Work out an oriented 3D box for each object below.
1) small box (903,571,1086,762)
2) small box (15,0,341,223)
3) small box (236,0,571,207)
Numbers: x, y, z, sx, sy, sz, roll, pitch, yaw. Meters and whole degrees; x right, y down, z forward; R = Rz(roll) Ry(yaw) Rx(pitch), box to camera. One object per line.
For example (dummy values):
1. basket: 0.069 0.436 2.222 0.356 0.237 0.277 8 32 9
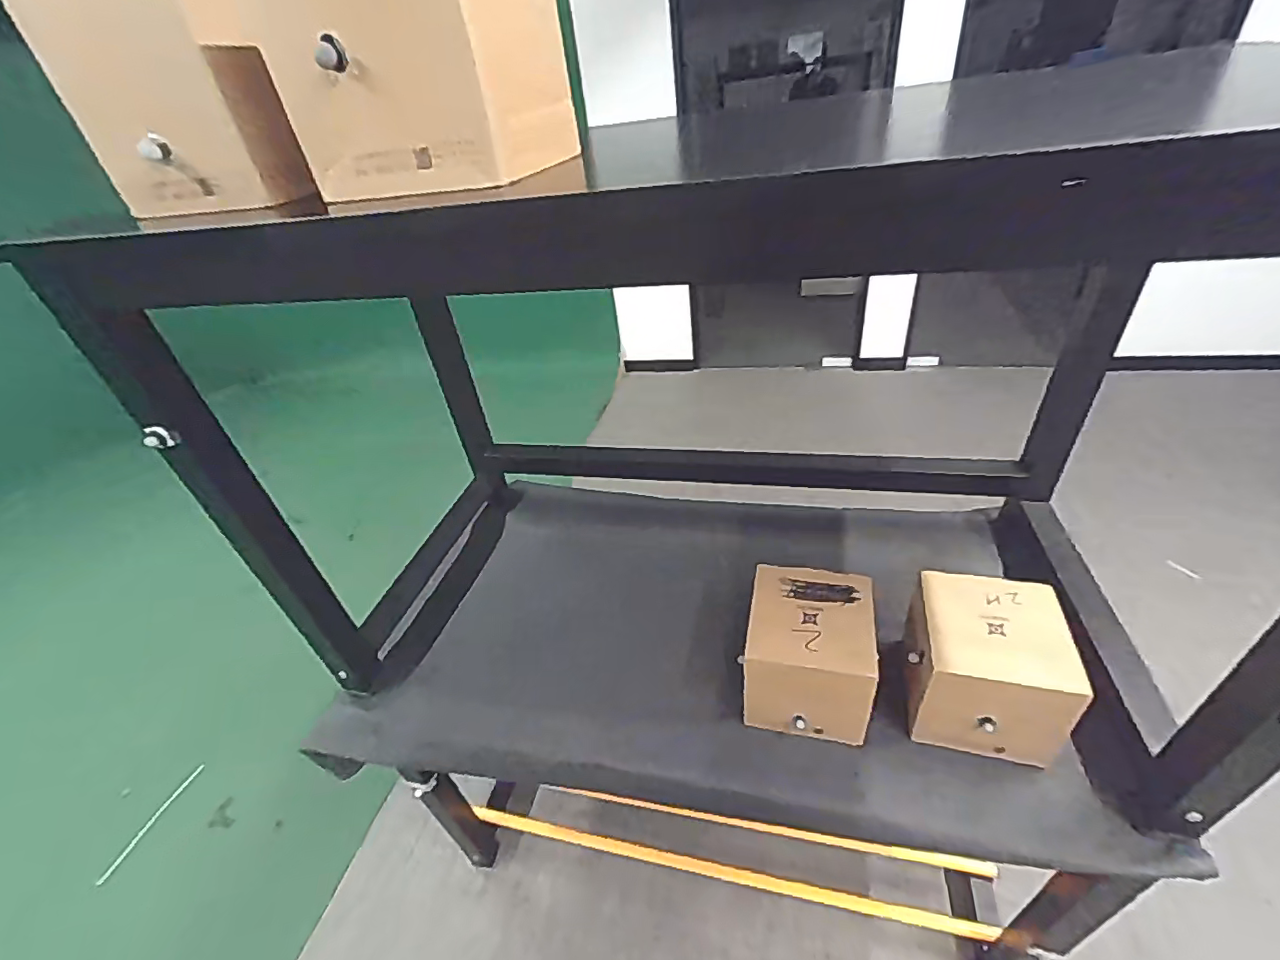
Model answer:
1. small box: 0.469 0.255 0.748 0.168 0.176 0.179 5 37 18
2. small box: -0.383 -0.353 0.513 0.168 0.176 0.179 3 39 16
3. small box: -0.170 -0.332 0.444 0.168 0.176 0.179 3 37 16
